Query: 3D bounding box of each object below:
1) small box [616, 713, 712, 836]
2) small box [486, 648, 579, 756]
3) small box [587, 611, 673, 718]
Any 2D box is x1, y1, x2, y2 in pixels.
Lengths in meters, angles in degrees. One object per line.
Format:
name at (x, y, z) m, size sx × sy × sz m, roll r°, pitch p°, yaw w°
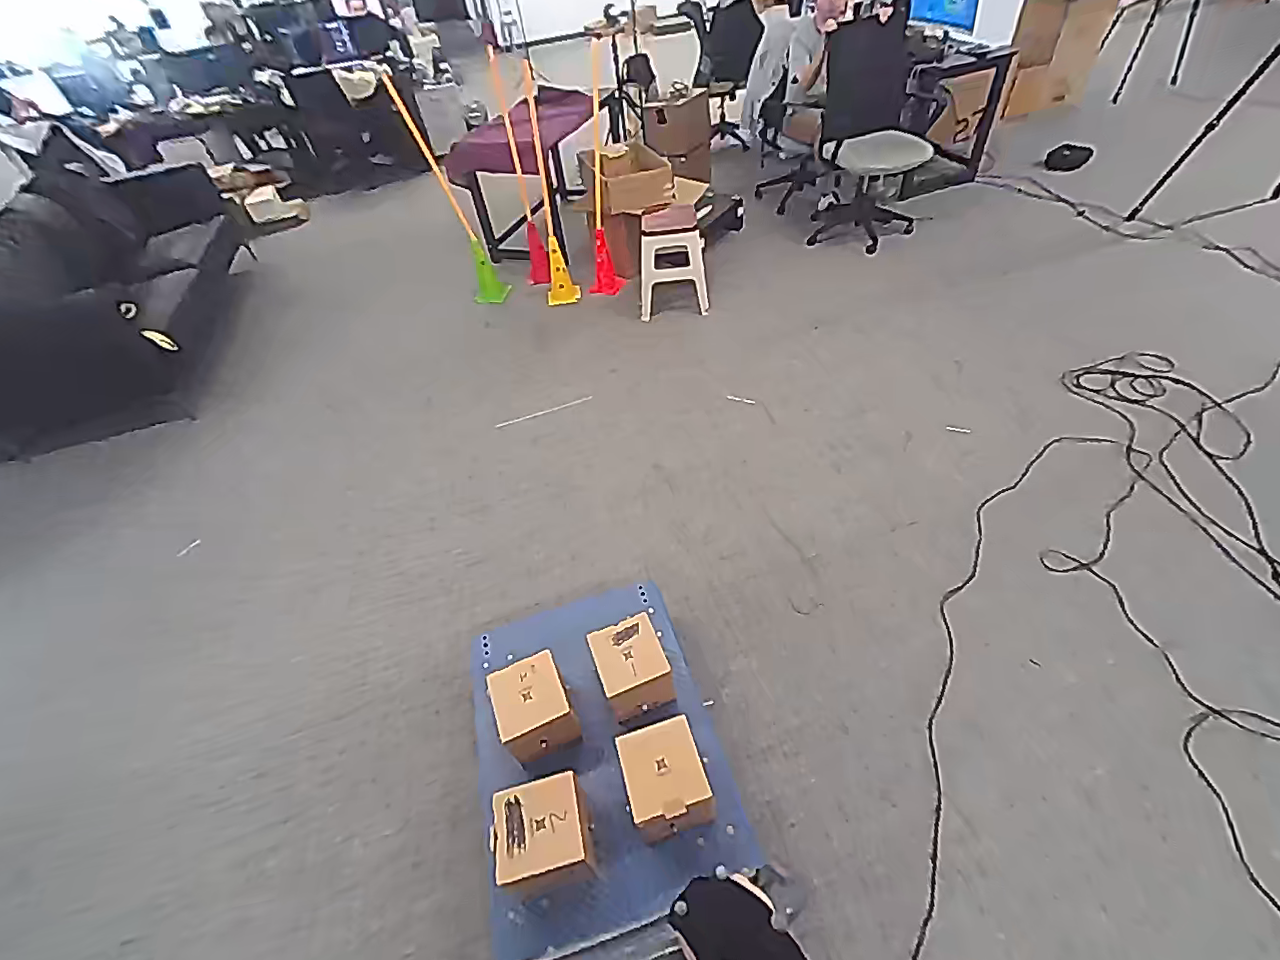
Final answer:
small box at (0.053, 0.655, 1.200) m, size 0.168 × 0.176 × 0.179 m, roll -16°, pitch 47°, yaw -7°
small box at (-0.262, 0.556, 1.337) m, size 0.168 × 0.176 × 0.179 m, roll -21°, pitch 47°, yaw -12°
small box at (-0.025, 0.473, 1.382) m, size 0.168 × 0.176 × 0.179 m, roll -20°, pitch 48°, yaw -9°
